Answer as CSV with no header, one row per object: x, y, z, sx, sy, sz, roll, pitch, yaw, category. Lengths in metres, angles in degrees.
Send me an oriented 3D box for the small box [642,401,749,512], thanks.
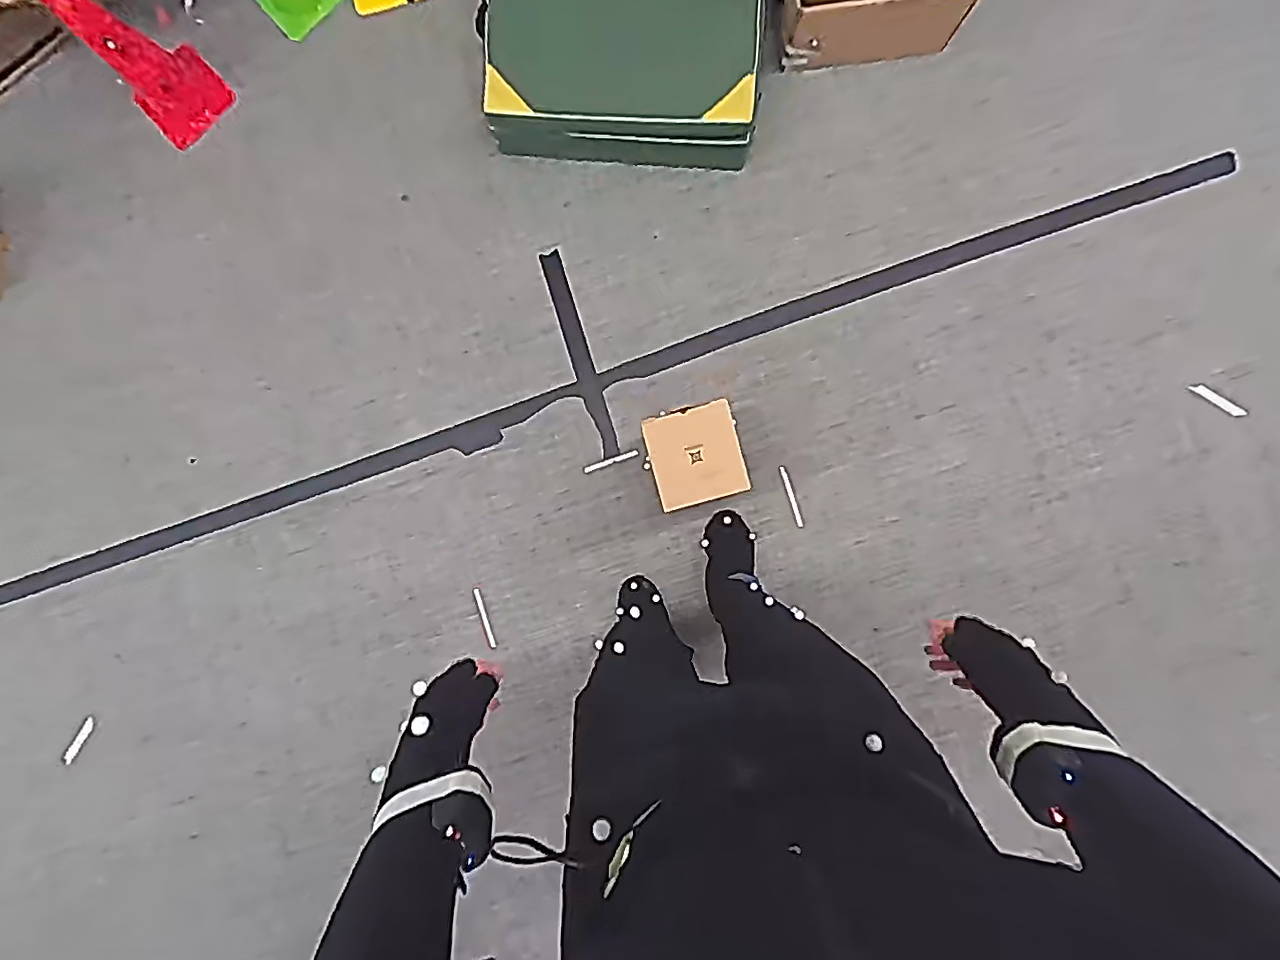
0.104,-0.043,1.072,0.168,0.176,0.179,-15,90,3,small box
